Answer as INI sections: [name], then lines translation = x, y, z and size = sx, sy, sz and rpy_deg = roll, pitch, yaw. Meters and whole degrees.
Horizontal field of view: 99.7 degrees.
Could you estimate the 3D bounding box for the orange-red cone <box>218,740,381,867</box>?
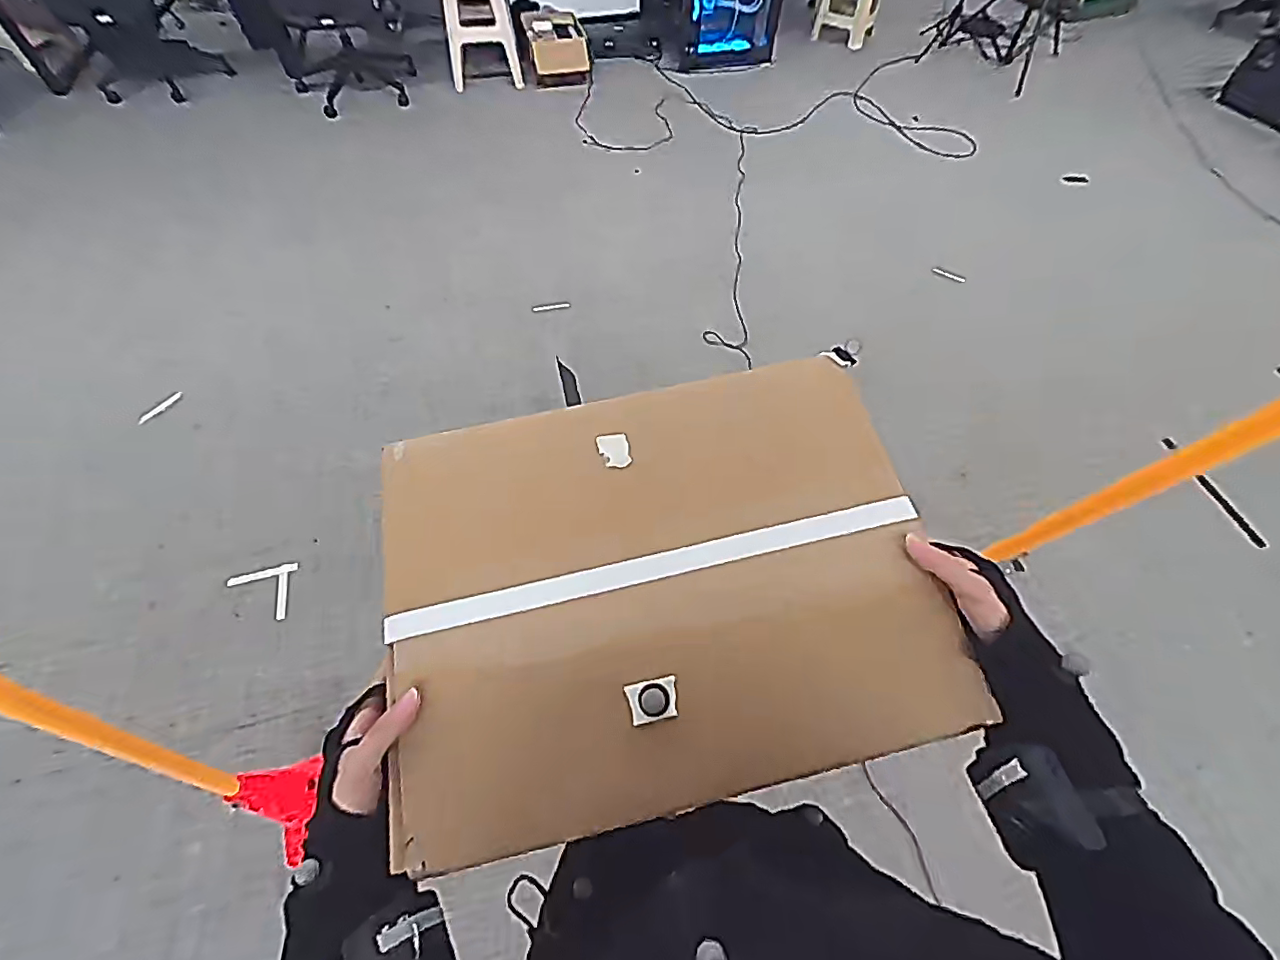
[orange-red cone]
translation = -0.667, 0.599, 1.022
size = 0.199, 0.360, 0.198
rpy_deg = -20, 59, -12
